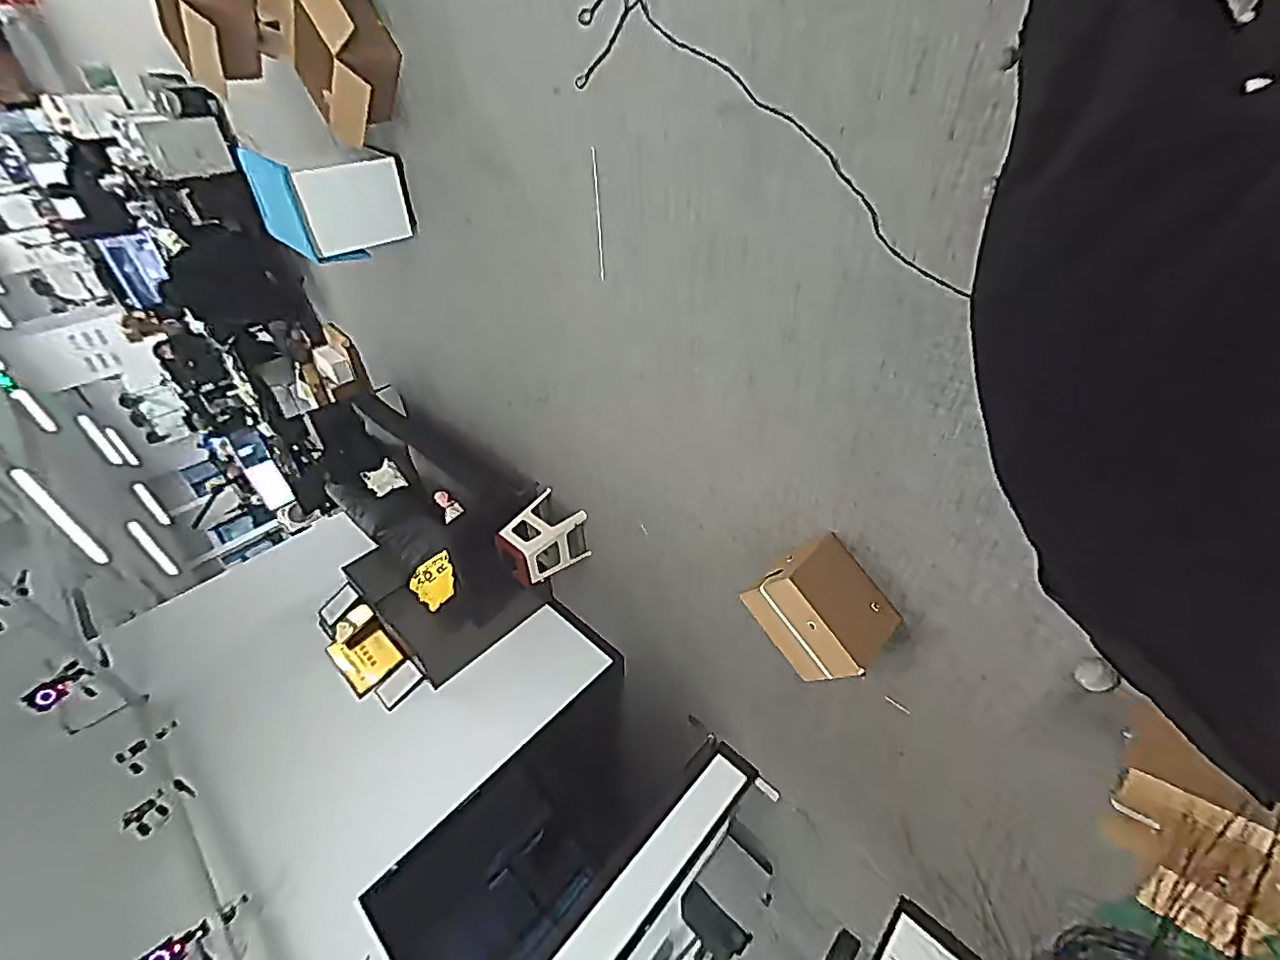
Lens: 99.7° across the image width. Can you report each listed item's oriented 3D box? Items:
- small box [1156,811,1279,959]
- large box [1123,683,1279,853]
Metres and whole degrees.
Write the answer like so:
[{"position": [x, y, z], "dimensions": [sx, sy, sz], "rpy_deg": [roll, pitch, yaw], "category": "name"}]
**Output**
[{"position": [1.296, 0.886, 1.194], "dimensions": [0.179, 0.176, 0.168], "rpy_deg": [22, 133, 41], "category": "small box"}, {"position": [1.486, 0.776, 1.309], "dimensions": [0.408, 0.320, 0.320], "rpy_deg": [17, 132, 42], "category": "large box"}]
